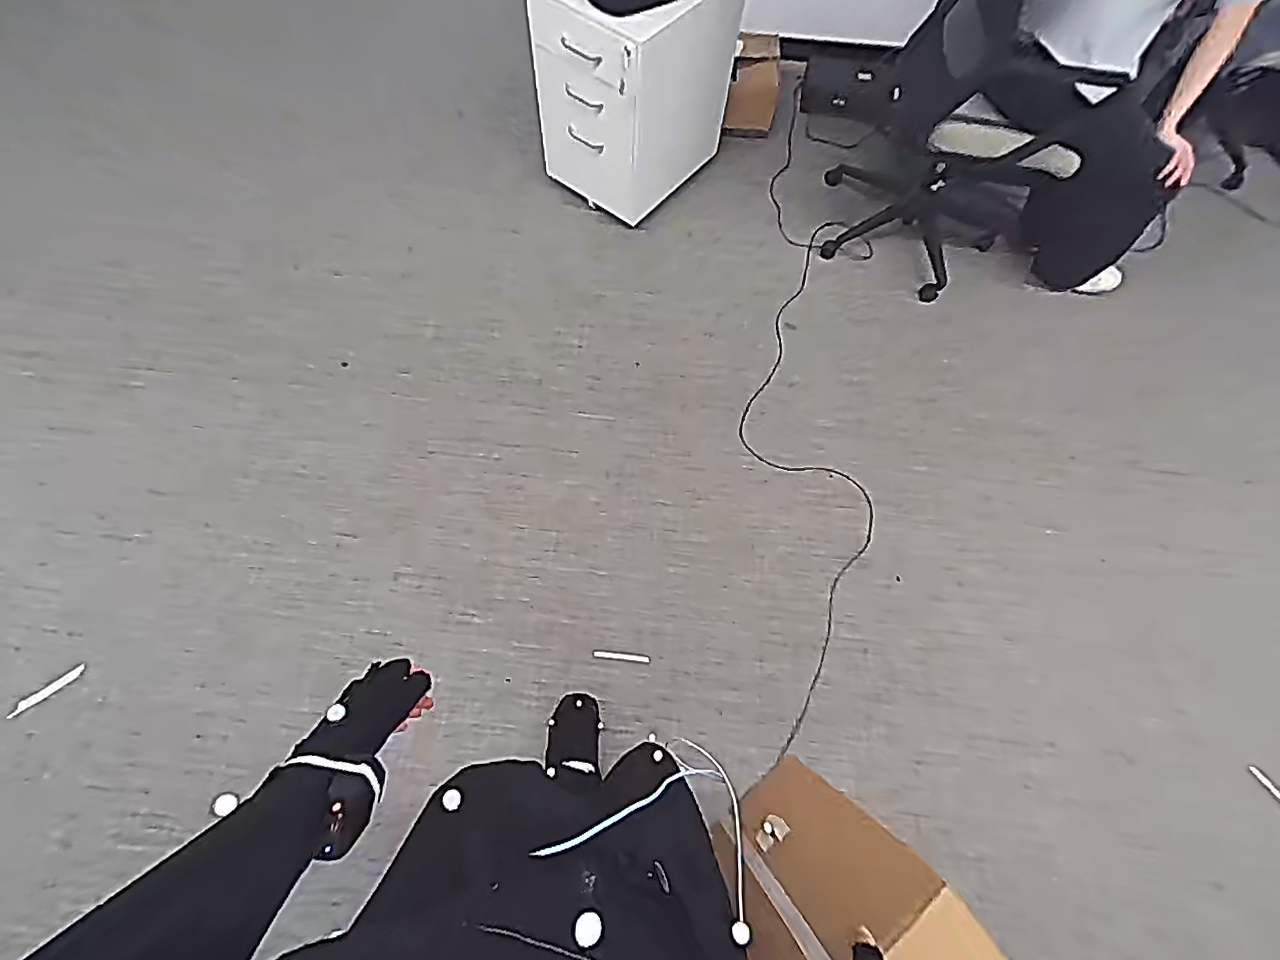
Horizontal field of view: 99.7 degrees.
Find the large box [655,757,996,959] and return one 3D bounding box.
[{"bbox_3d":[0.260,0.662,0.725,0.320,0.408,0.320,-39,87,-11],"label":"large box"}]
